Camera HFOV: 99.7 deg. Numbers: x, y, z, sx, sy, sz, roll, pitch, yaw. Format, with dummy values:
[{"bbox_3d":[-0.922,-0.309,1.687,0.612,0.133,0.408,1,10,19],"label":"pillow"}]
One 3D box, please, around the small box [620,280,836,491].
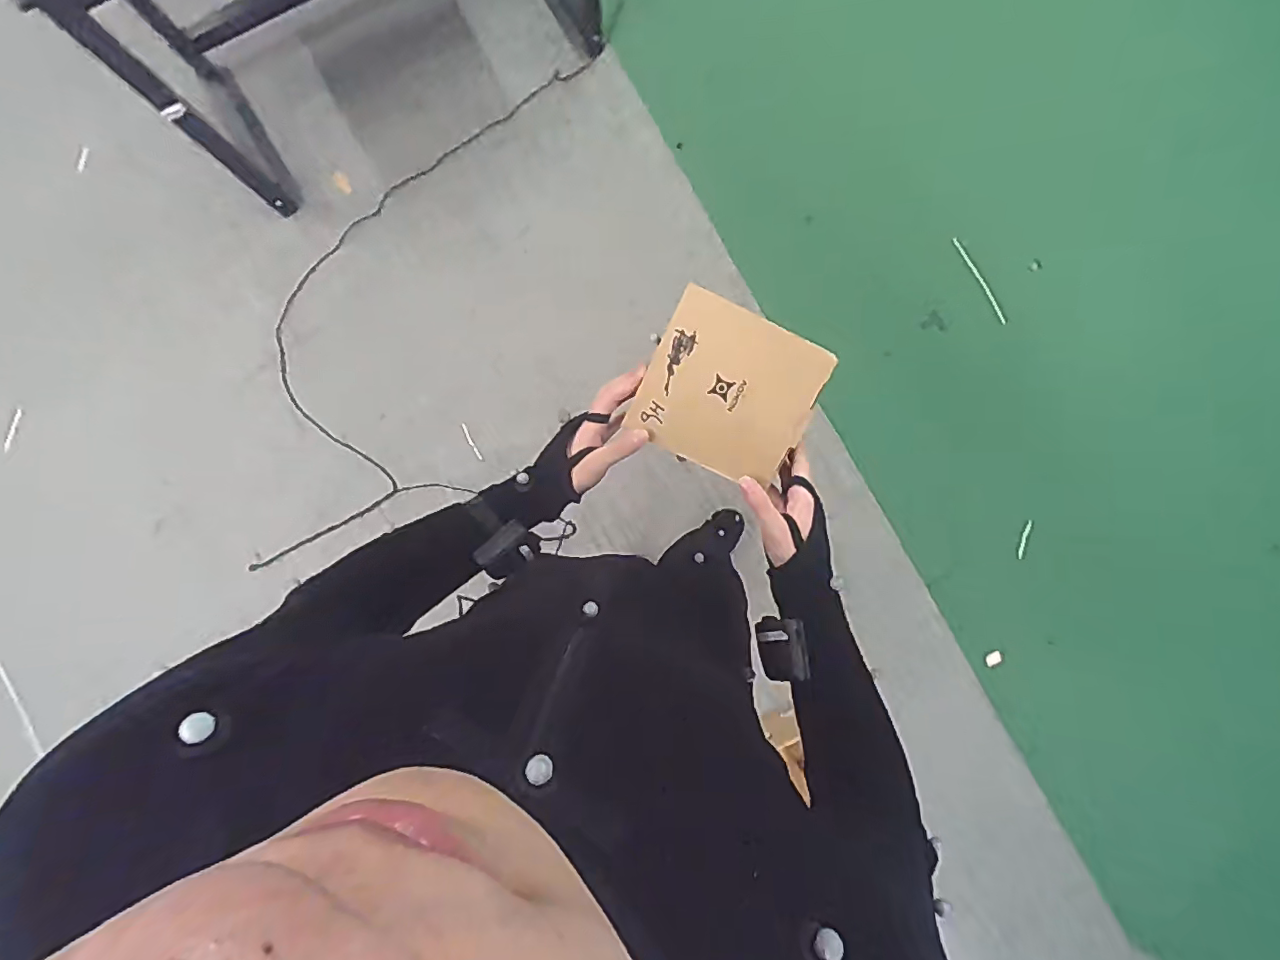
[{"bbox_3d":[0.090,-0.109,0.638,0.179,0.176,0.168,25,99,-4],"label":"small box"}]
